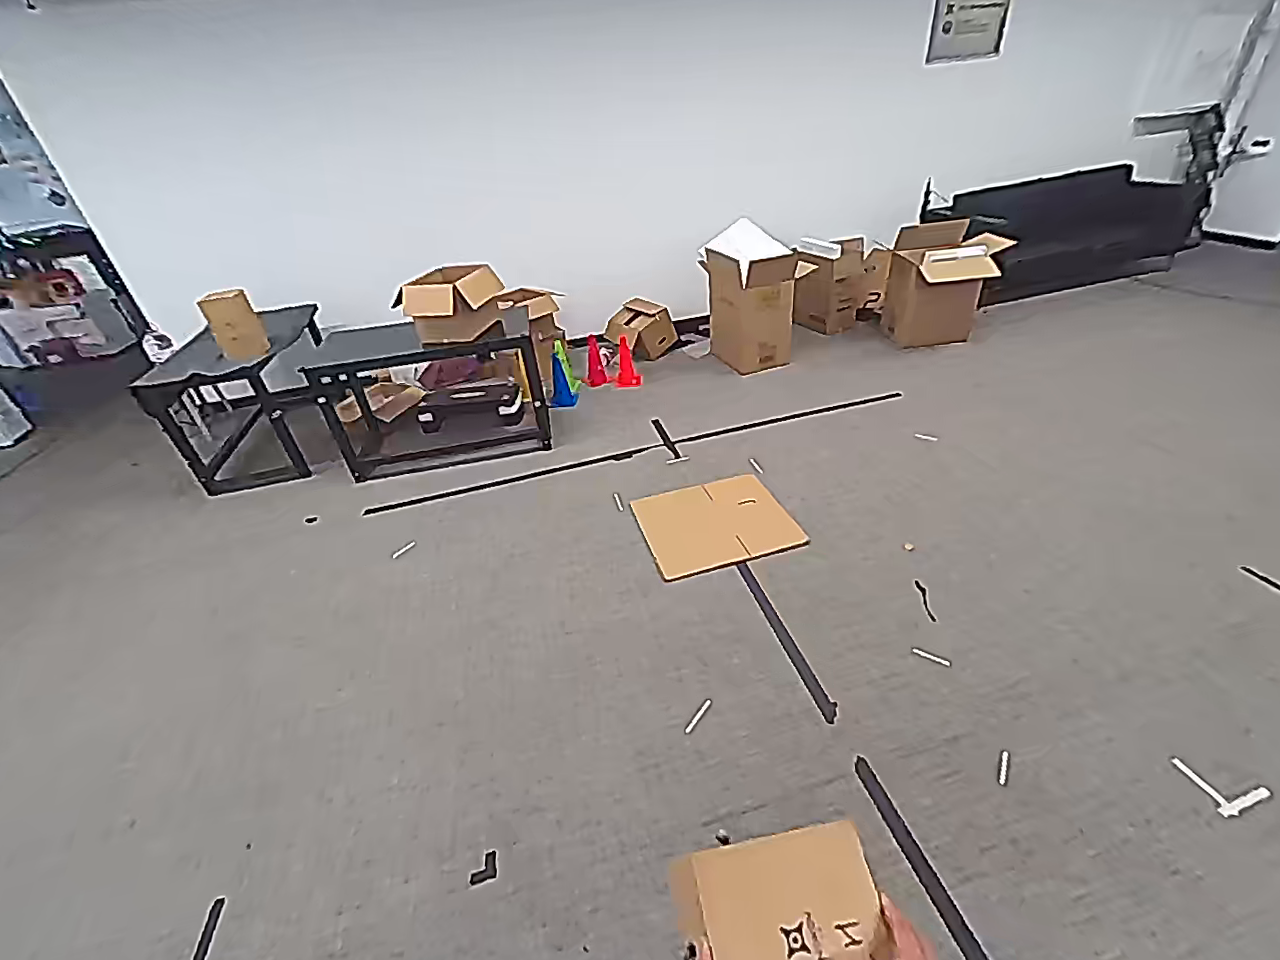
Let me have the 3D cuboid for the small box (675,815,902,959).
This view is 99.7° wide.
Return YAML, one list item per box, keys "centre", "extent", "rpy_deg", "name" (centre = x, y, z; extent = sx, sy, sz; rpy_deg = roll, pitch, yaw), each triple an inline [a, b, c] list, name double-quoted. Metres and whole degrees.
- centre: [0.139, 0.464, 0.554]
  extent: [0.179, 0.176, 0.168]
  rpy_deg: [-5, 52, -11]
  name: "small box"
